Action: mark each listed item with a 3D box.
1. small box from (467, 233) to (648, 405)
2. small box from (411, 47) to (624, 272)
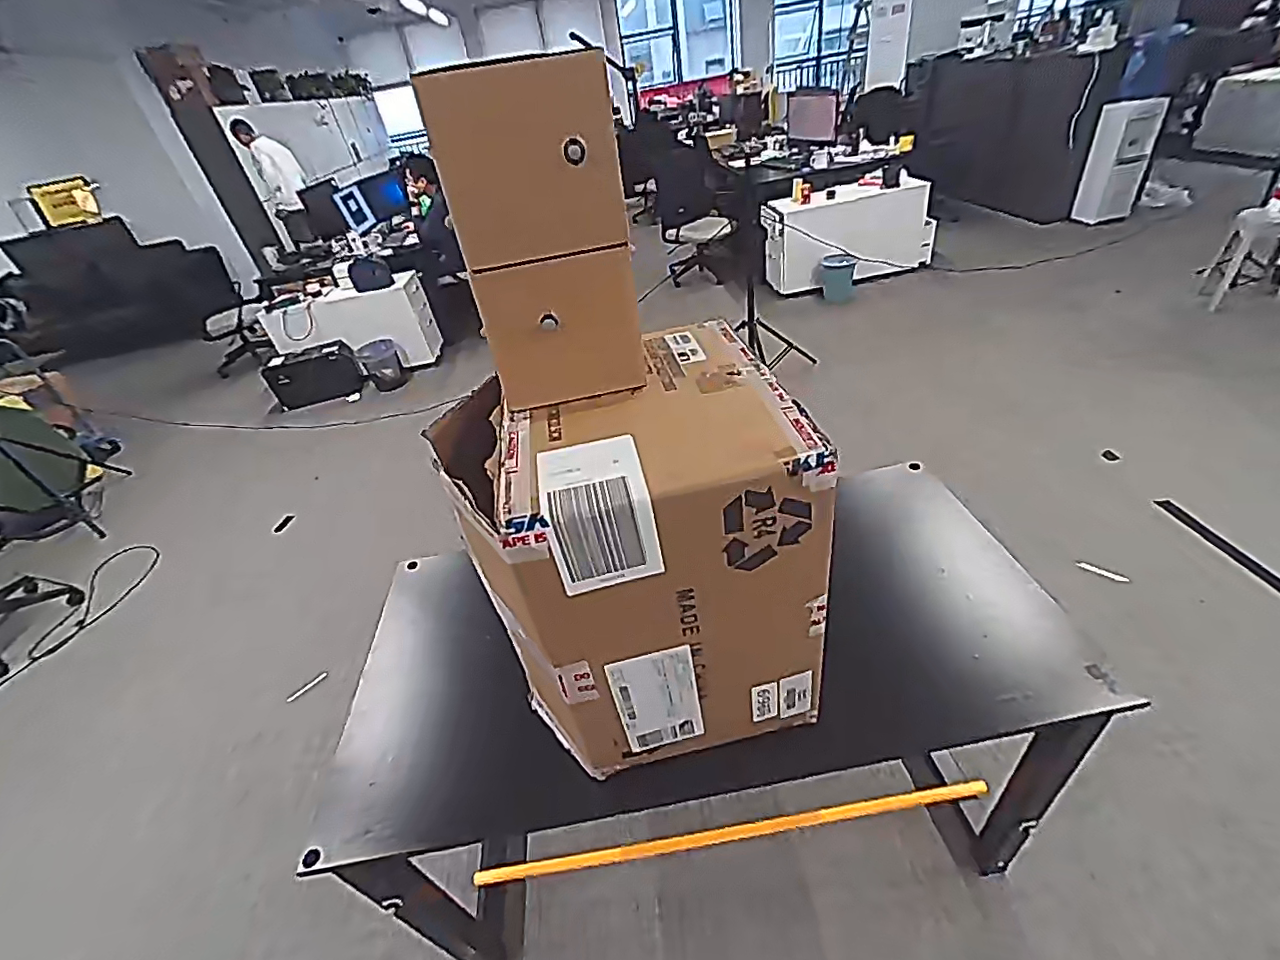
[{"bbox_3d":[-0.098,-0.209,0.679,0.179,0.176,0.168,-13,35,-4],"label":"small box"},{"bbox_3d":[-0.119,-0.340,0.582,0.179,0.176,0.168,-14,34,-5],"label":"small box"}]
